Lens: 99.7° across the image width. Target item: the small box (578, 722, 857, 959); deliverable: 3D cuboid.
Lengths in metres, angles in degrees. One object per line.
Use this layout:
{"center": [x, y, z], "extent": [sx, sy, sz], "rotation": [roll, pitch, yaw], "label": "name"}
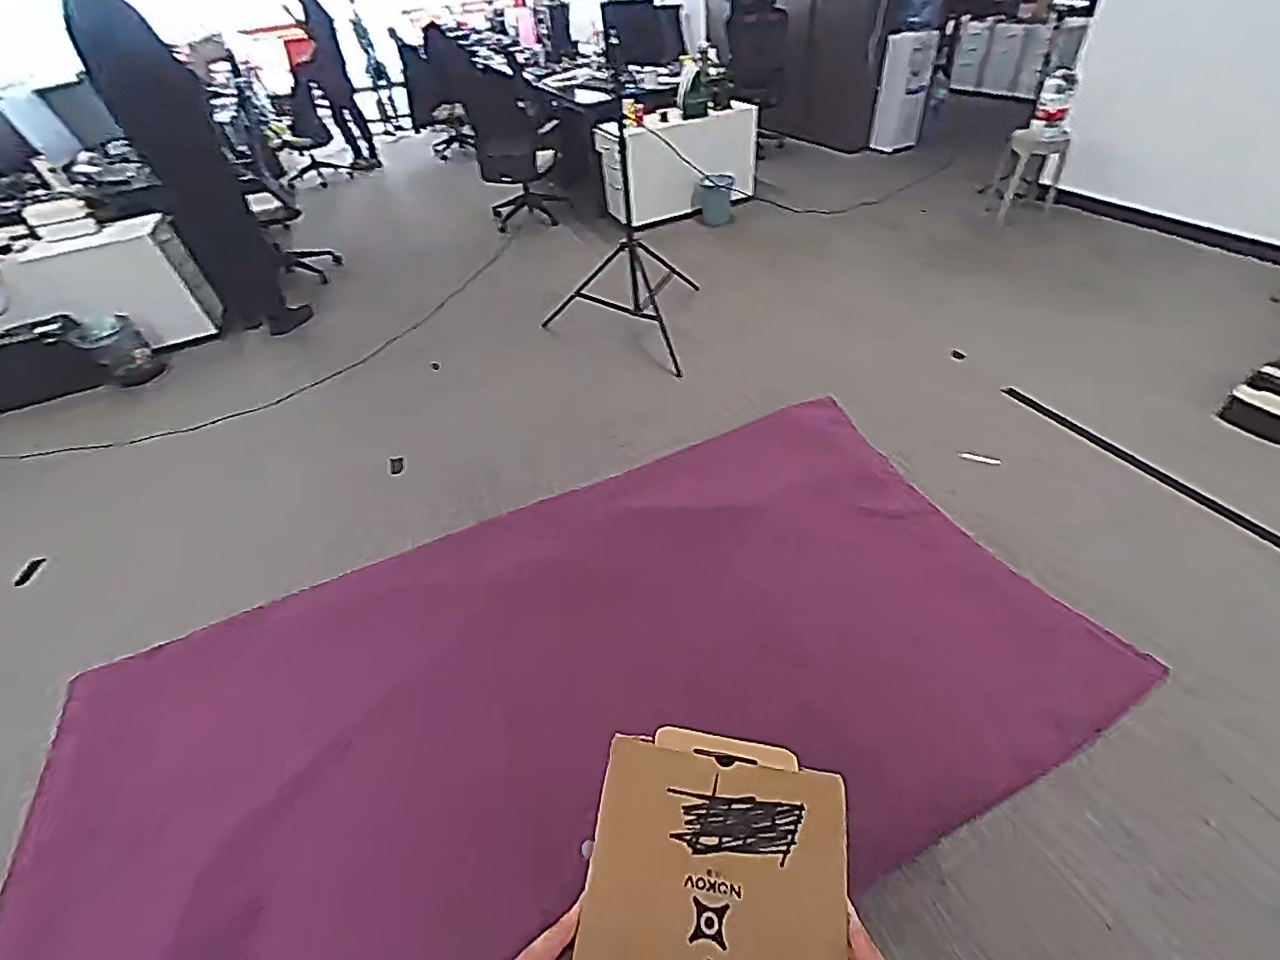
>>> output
{"center": [0.055, 0.303, 0.406], "extent": [0.168, 0.176, 0.179], "rotation": [6, 57, 9], "label": "small box"}
